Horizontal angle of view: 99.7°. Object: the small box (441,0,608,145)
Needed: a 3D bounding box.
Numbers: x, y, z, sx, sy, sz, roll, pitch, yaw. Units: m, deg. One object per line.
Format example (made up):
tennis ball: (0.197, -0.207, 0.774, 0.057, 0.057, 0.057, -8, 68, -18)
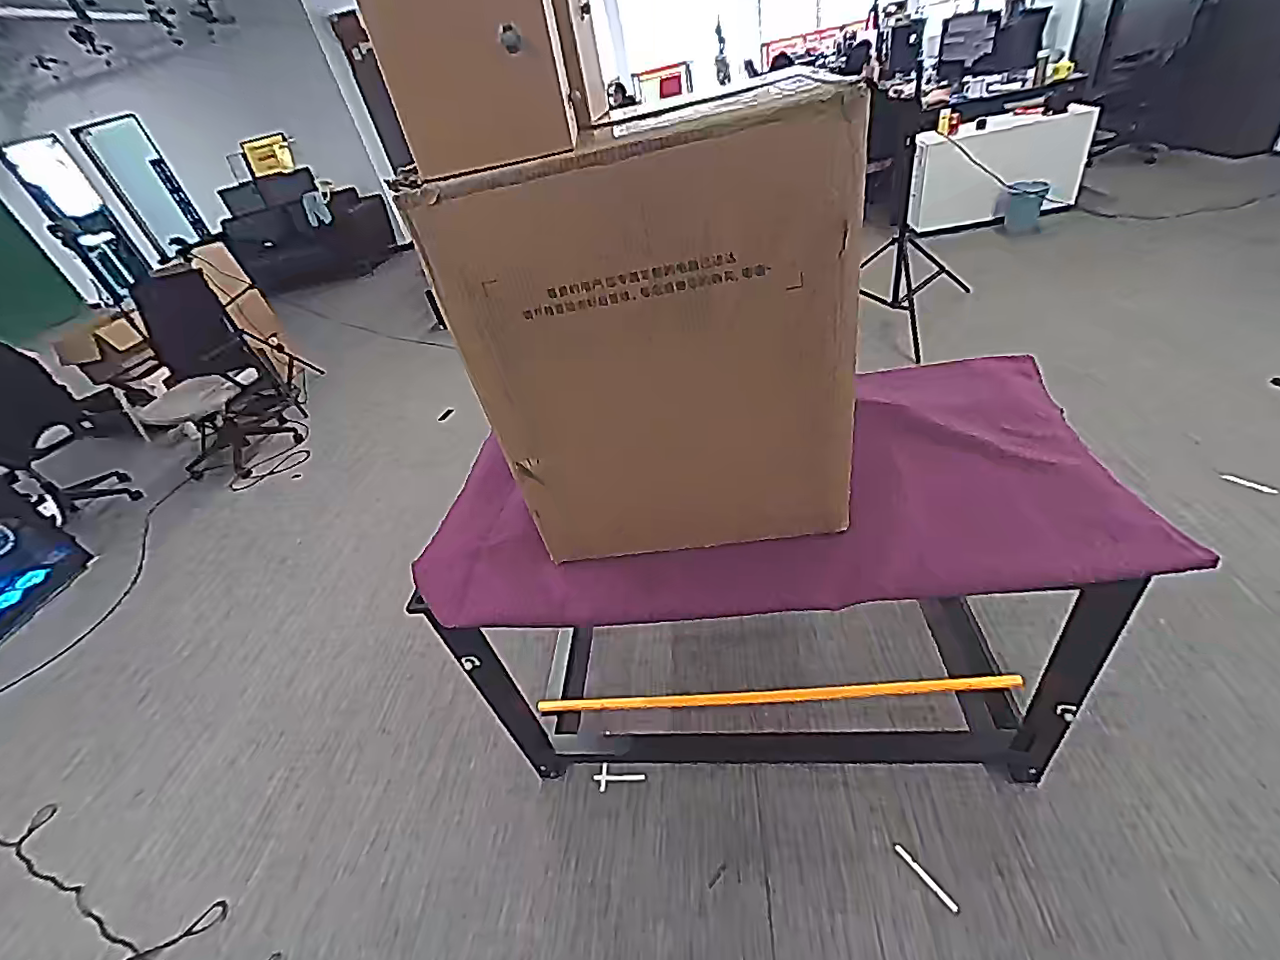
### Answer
small box: (-0.150, -0.597, 0.778, 0.168, 0.176, 0.179, -4, 38, 11)
